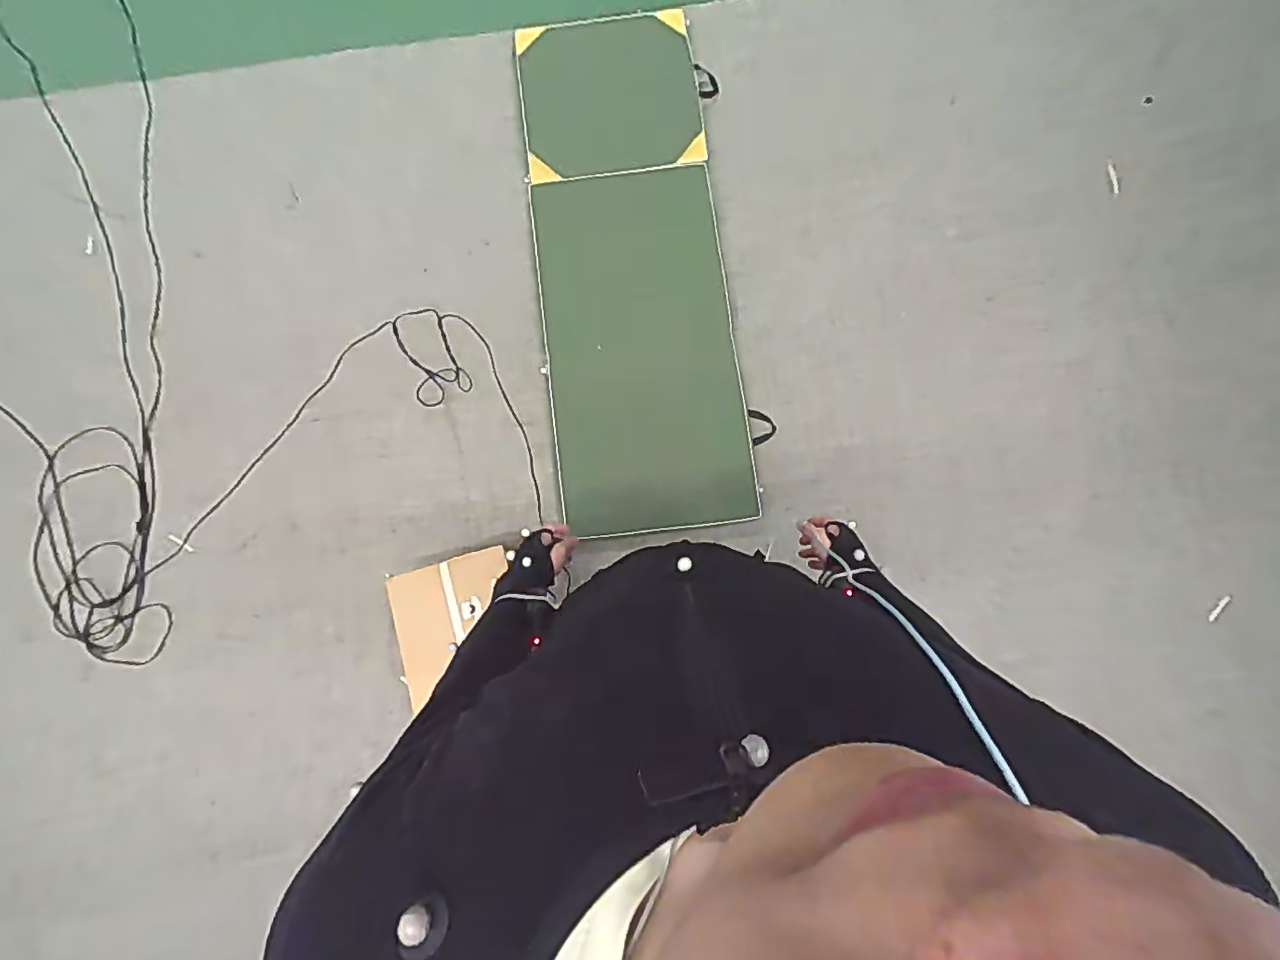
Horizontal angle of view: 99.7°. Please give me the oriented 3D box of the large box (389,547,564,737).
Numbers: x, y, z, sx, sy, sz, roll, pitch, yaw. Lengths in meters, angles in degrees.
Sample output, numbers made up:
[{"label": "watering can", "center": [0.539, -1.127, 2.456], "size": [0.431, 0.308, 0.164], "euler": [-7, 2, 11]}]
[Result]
[{"label": "large box", "center": [-0.432, 0.424, 1.494], "size": [0.320, 0.320, 0.408], "euler": [-16, 80, -1]}]
